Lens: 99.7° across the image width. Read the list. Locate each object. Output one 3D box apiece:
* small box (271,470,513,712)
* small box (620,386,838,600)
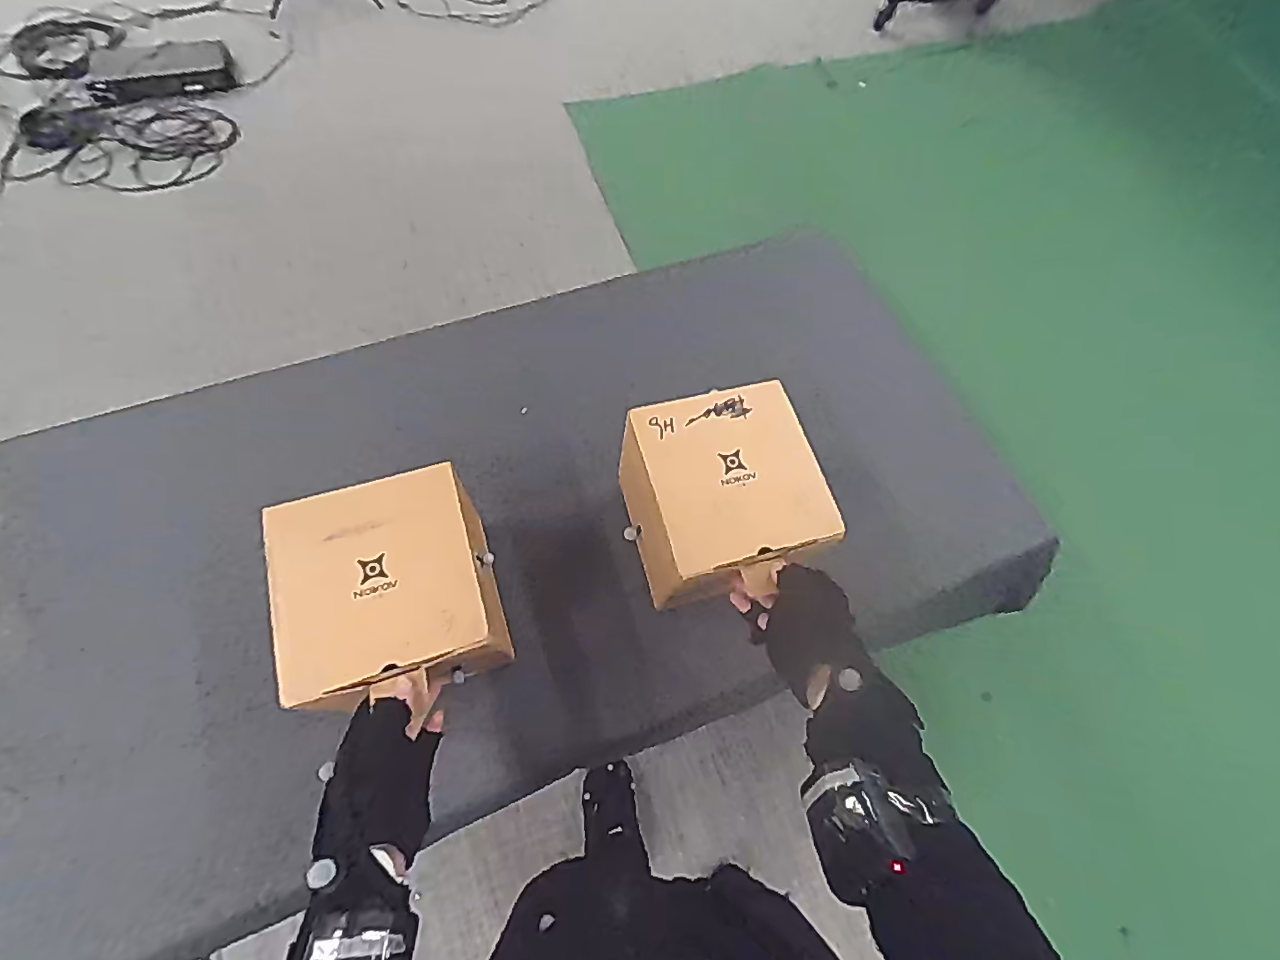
[{"bbox_3d":[-0.235,0.118,0.547,0.168,0.176,0.179,-16,69,-12],"label":"small box"},{"bbox_3d":[0.080,0.025,0.593,0.168,0.176,0.179,-13,71,-11],"label":"small box"}]
